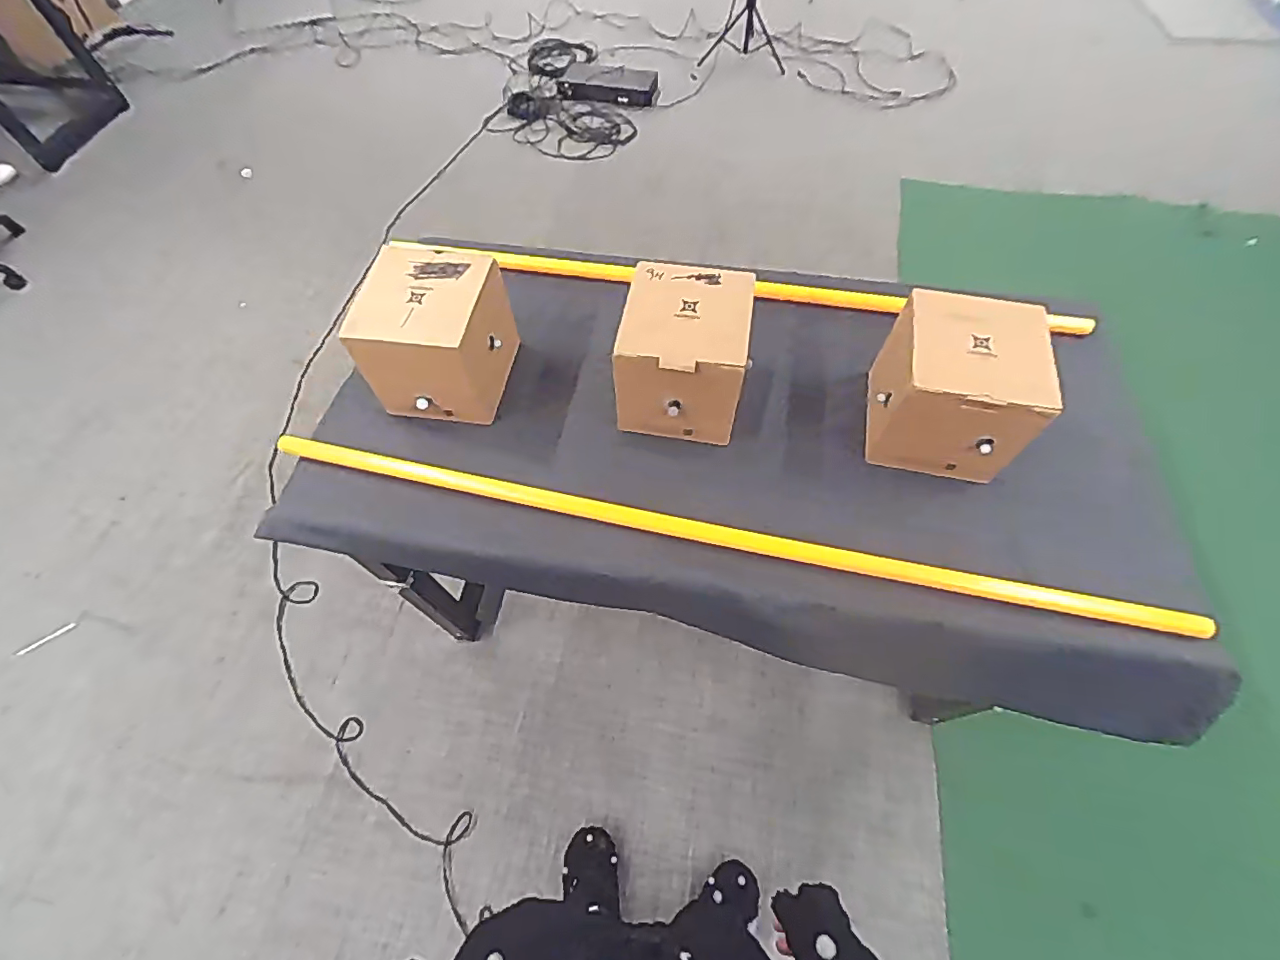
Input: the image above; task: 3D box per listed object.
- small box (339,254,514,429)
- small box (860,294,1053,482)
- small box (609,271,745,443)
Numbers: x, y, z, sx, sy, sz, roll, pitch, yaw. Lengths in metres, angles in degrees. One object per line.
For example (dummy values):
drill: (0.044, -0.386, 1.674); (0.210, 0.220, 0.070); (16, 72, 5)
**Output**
small box: (-0.294, -0.200, 0.795); (0.168, 0.176, 0.179); (6, 61, 5)
small box: (0.411, -0.119, 0.735); (0.168, 0.176, 0.179); (11, 59, 7)
small box: (0.057, -0.171, 0.774); (0.168, 0.176, 0.179); (5, 59, 6)
